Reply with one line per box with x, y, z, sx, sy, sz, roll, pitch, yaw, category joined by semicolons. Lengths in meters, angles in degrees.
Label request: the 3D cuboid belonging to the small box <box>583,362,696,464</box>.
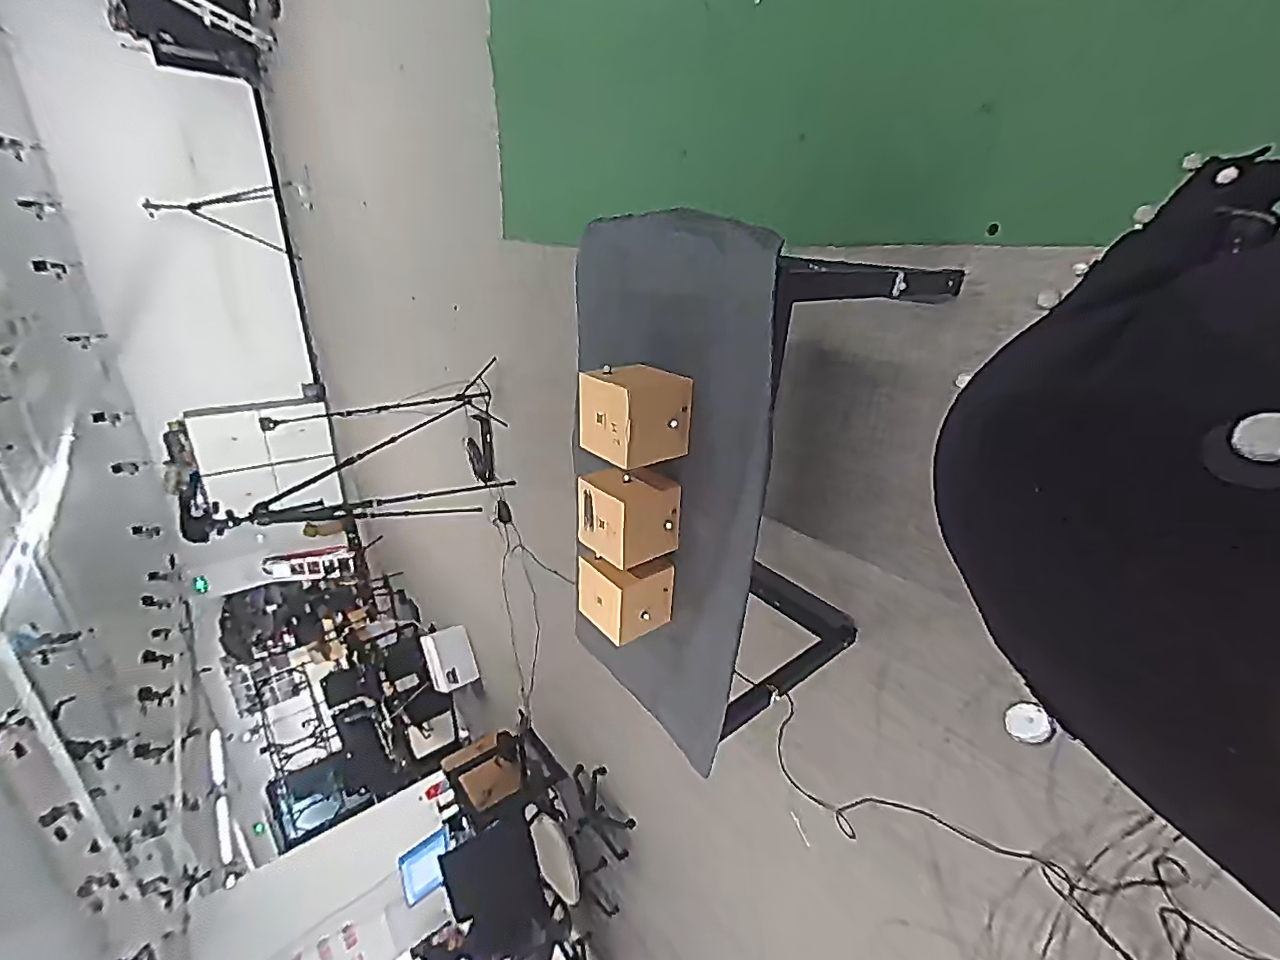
-0.005;-0.150;1.143;0.179;0.176;0.168;28;125;45;small box
